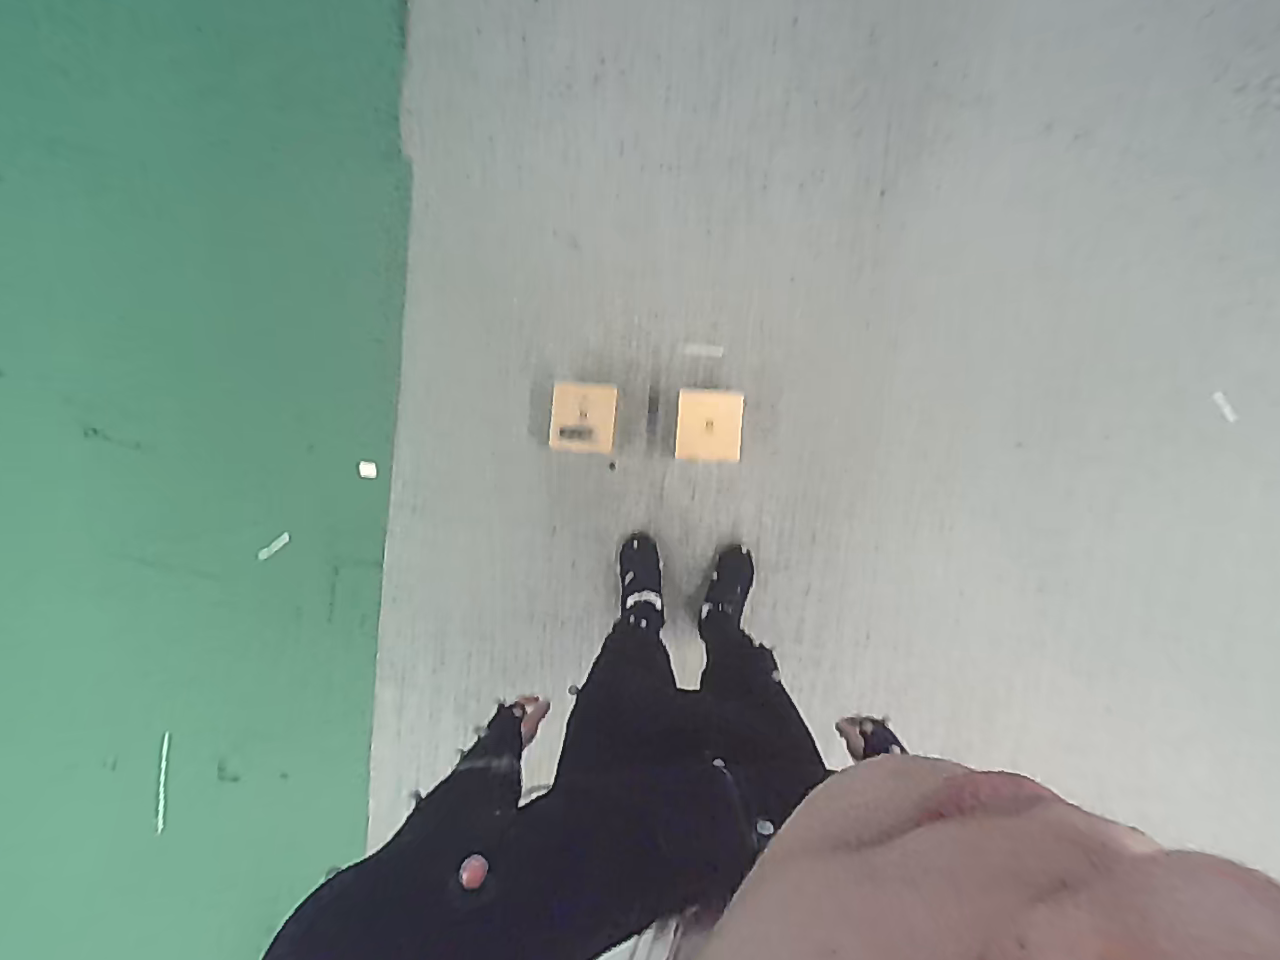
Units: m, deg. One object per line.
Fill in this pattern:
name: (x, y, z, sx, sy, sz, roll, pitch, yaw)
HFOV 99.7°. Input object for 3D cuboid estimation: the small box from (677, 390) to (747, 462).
small box: (0.189, -0.141, 1.458, 0.168, 0.176, 0.179, 4, 93, 4)
